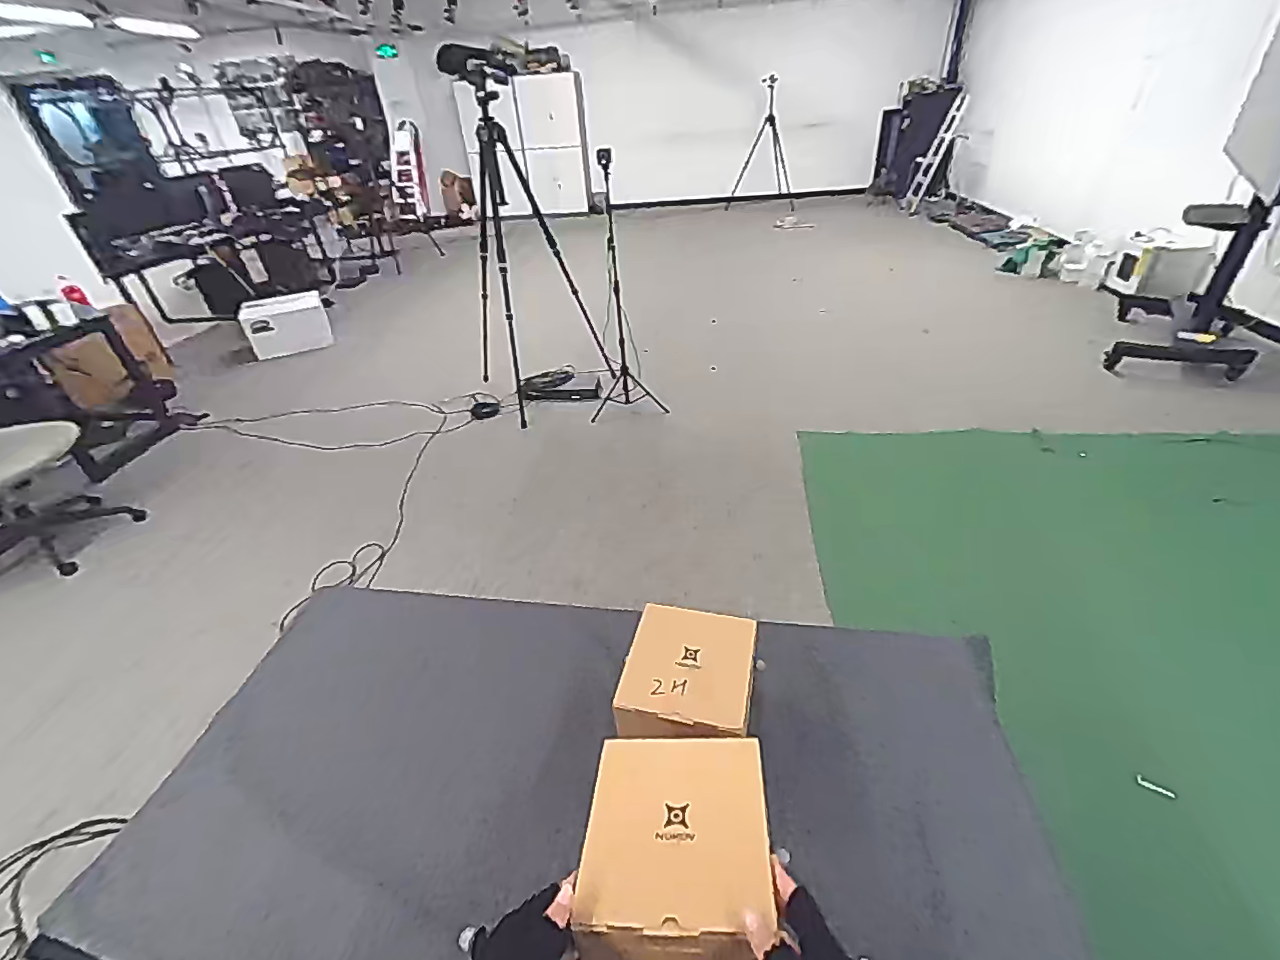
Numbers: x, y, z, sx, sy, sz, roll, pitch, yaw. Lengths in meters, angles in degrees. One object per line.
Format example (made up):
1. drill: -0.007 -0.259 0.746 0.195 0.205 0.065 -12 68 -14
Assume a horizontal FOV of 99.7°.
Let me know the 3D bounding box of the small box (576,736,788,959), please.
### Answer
1. small box: 0.049 0.378 0.522 0.168 0.176 0.179 -6 25 9

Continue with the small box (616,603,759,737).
1. small box: 0.075 0.308 0.775 0.168 0.176 0.179 6 37 16
